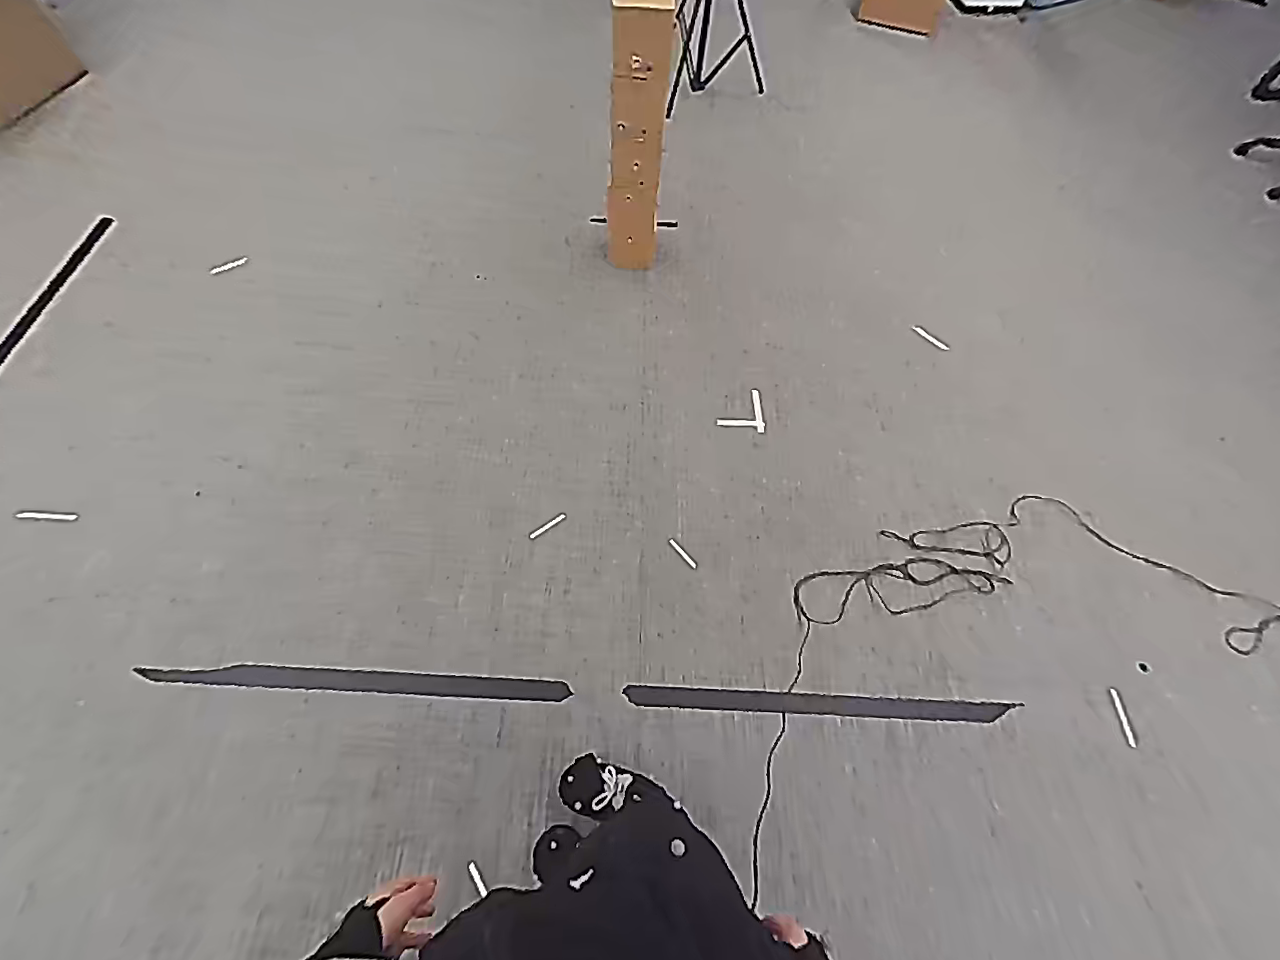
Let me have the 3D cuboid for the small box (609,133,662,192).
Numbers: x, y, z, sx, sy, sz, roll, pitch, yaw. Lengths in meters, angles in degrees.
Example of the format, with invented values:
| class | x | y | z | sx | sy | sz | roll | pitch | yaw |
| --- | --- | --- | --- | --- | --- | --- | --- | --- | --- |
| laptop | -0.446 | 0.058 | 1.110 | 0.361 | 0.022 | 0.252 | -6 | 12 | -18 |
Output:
| class | x | y | z | sx | sy | sz | roll | pitch | yaw |
| --- | --- | --- | --- | --- | --- | --- | --- | --- | --- |
| small box | -0.013 | -1.088 | 1.795 | 0.168 | 0.176 | 0.179 | 4 | 62 | -2 |

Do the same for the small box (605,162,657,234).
| class | x | y | z | sx | sy | sz | roll | pitch | yaw |
| --- | --- | --- | --- | --- | --- | --- | --- | --- | --- |
| small box | -0.032 | -1.007 | 1.936 | 0.179 | 0.176 | 0.168 | 5 | 62 | -1 |

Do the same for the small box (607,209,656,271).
| class | x | y | z | sx | sy | sz | roll | pitch | yaw |
| --- | --- | --- | --- | --- | --- | --- | --- | --- | --- |
| small box | -0.034 | -0.930 | 2.081 | 0.179 | 0.176 | 0.168 | 3 | 61 | -2 |

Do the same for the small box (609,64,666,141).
| class | x | y | z | sx | sy | sz | roll | pitch | yaw |
| --- | --- | --- | --- | --- | --- | --- | --- | --- | --- |
| small box | -0.006 | -1.169 | 1.652 | 0.168 | 0.176 | 0.179 | 3 | 60 | -2 |

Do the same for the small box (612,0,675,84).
| class | x | y | z | sx | sy | sz | roll | pitch | yaw |
| --- | --- | --- | --- | --- | --- | --- | --- | --- | --- |
| small box | 0.006 | -1.247 | 1.511 | 0.168 | 0.176 | 0.179 | 1 | 62 | -2 |
